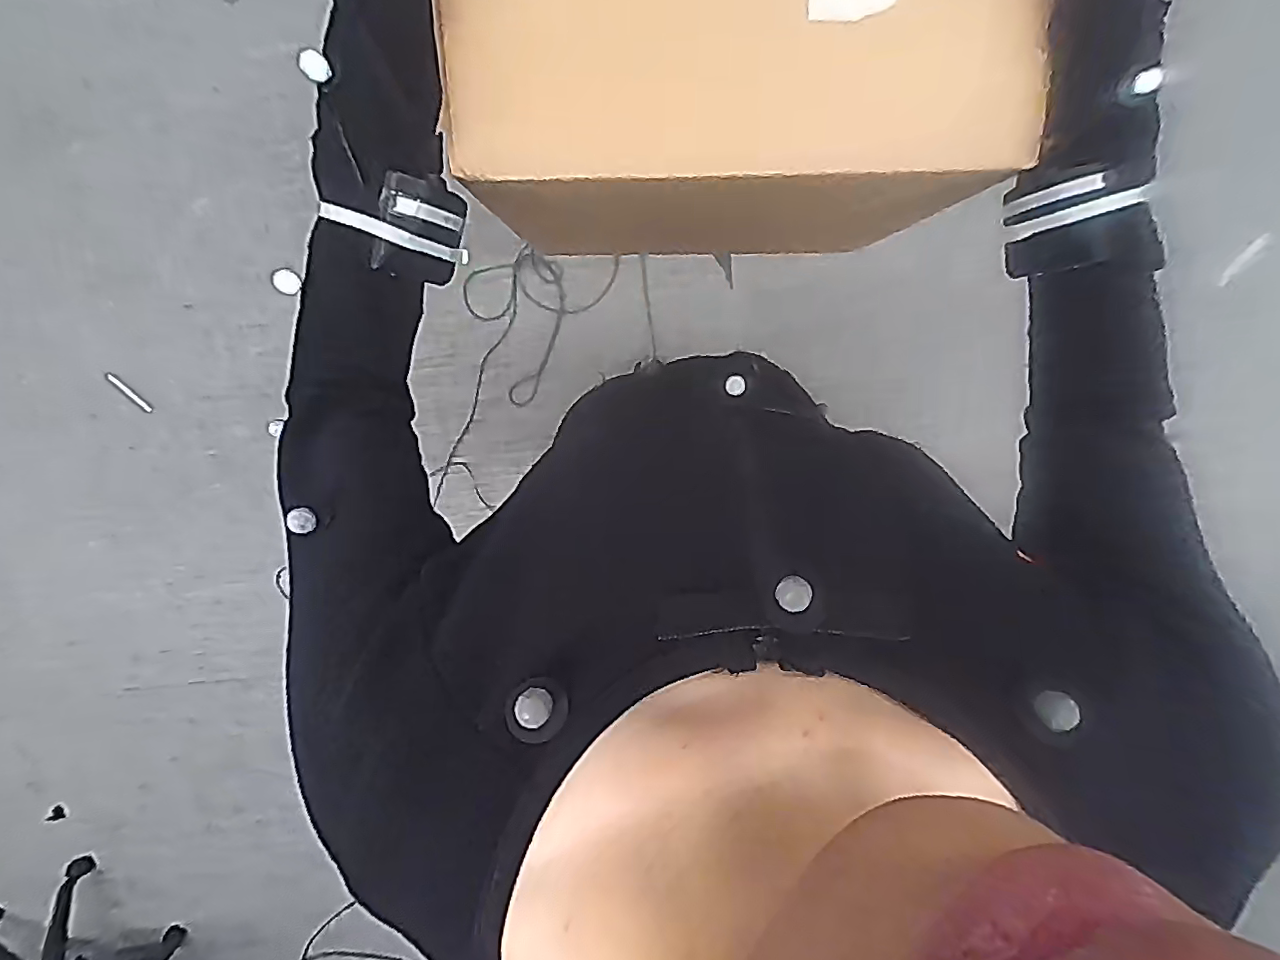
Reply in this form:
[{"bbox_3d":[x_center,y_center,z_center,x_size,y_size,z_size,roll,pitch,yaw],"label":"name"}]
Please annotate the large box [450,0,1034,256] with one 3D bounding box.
[{"bbox_3d":[0.065,-0.405,0.500,0.408,0.320,0.320,-1,103,0],"label":"large box"}]
